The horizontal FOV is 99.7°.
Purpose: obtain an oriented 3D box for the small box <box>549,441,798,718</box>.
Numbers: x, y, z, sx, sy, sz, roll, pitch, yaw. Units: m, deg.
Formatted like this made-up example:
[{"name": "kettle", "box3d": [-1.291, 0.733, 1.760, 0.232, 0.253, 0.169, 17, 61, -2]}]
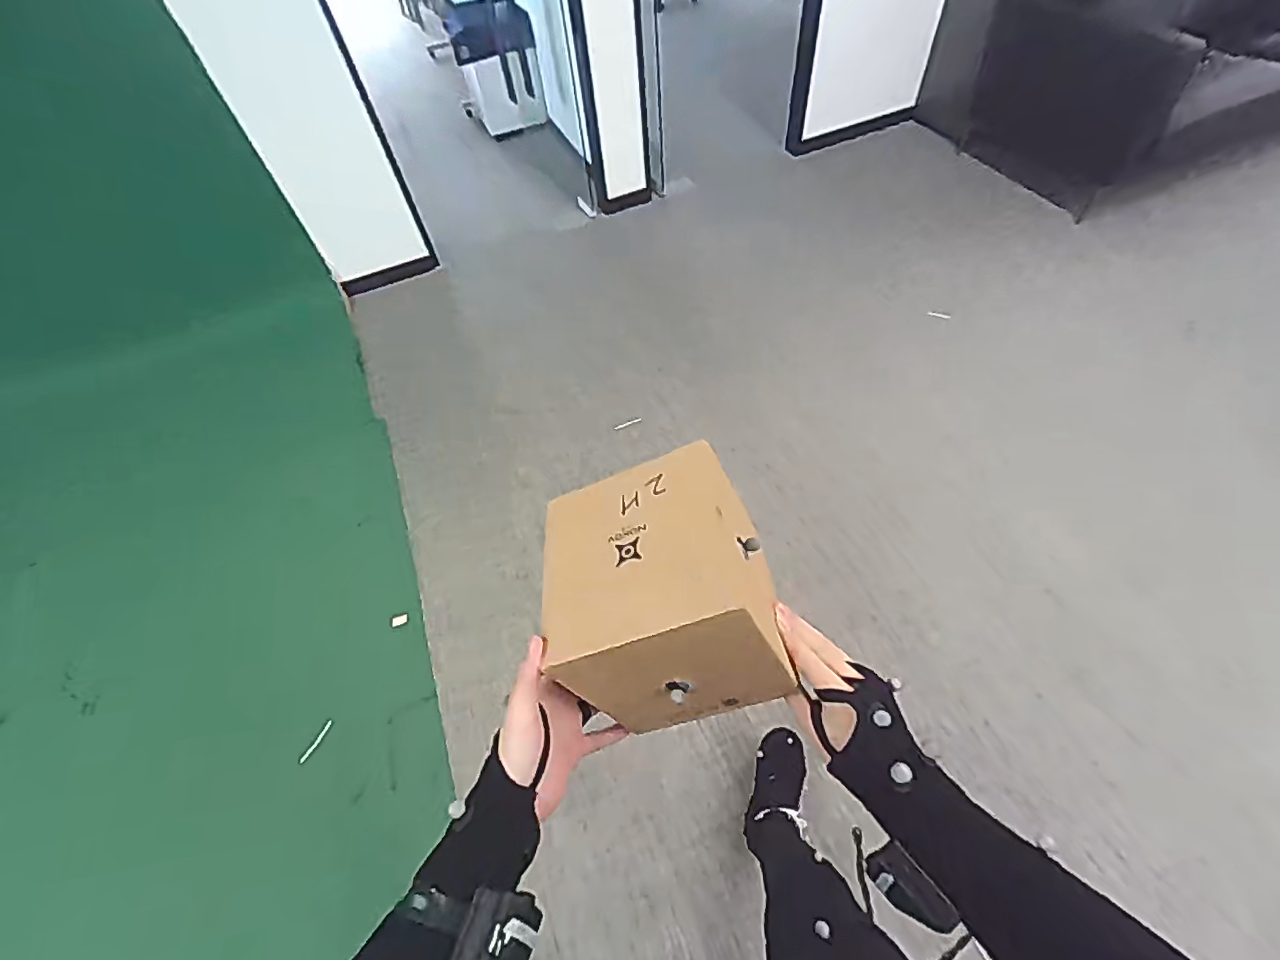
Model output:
[{"name": "small box", "box3d": [0.033, 0.102, 0.503, 0.168, 0.176, 0.179, -21, 42, 15]}]
